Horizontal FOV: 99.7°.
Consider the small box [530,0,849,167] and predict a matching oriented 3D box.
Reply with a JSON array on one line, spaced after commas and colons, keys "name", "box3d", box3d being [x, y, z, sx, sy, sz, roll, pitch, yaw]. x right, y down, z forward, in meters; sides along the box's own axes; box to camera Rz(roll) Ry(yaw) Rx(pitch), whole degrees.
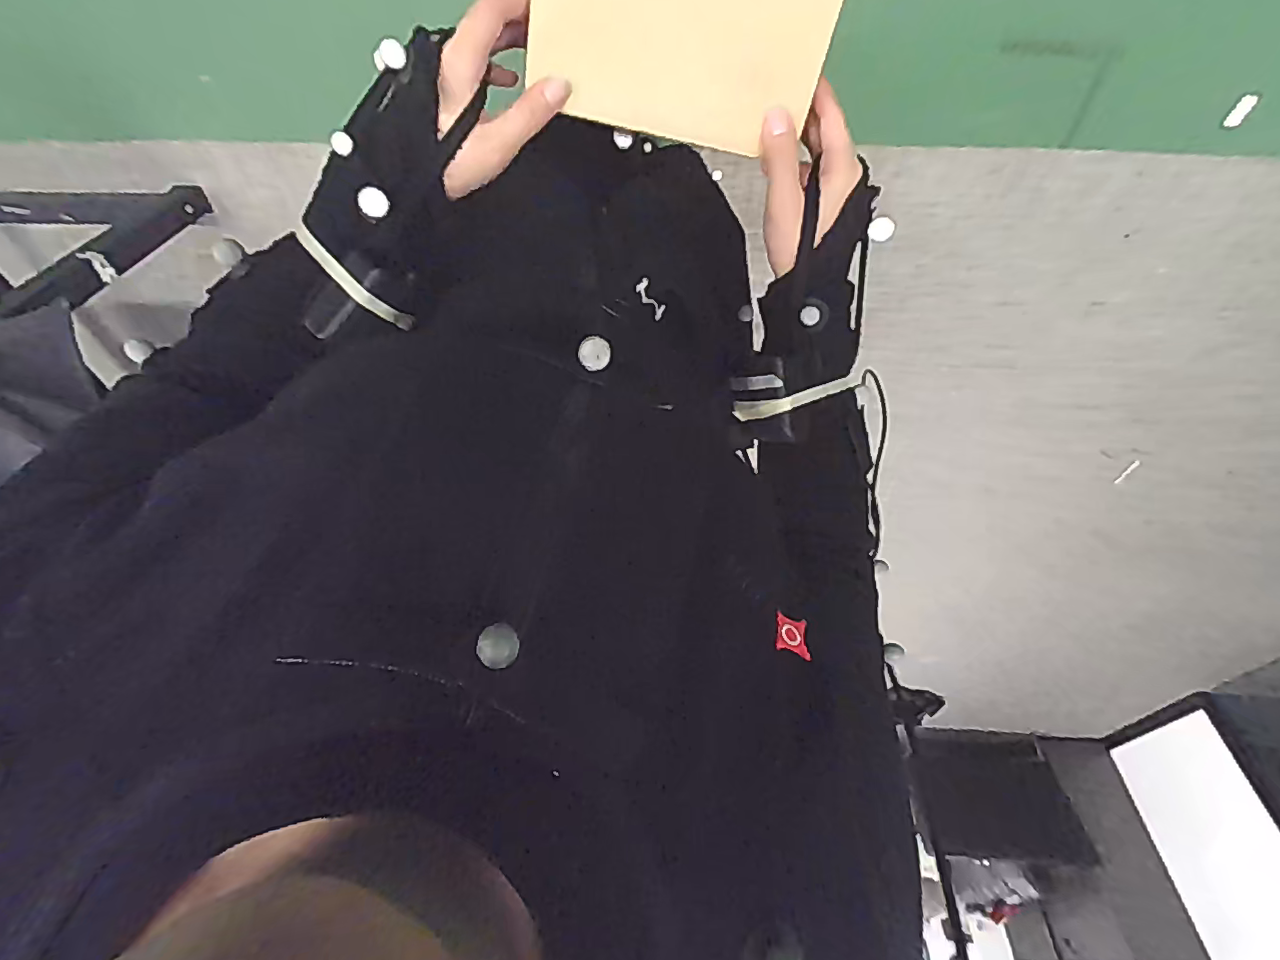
[{"name": "small box", "box3d": [0.033, -0.319, 0.338, 0.168, 0.176, 0.179, 9, 124, -7]}]
